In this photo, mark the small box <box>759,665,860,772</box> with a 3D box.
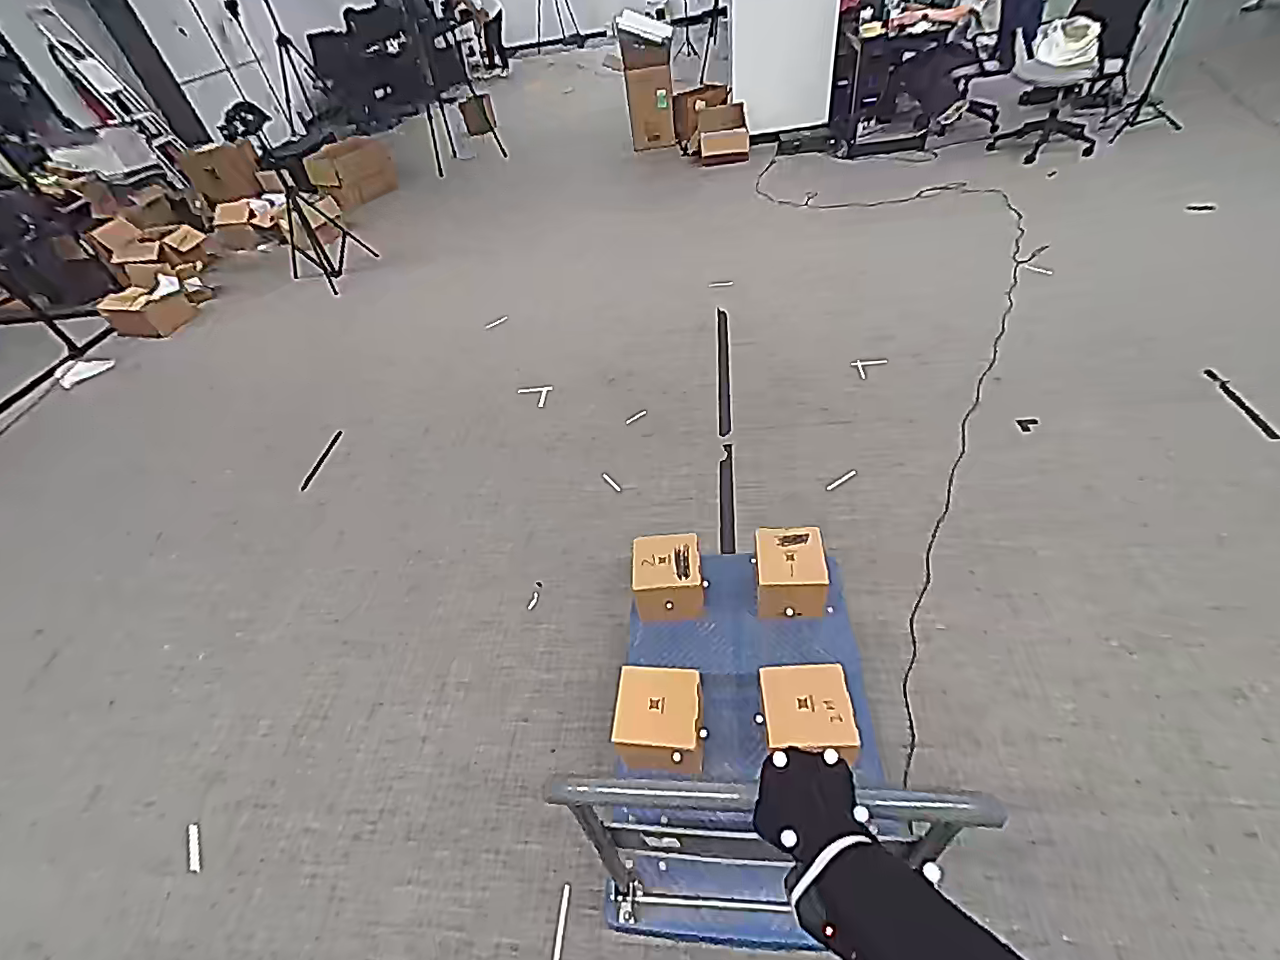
[{"bbox_3d":[0.355,0.515,1.161,0.179,0.176,0.168,-5,46,7],"label":"small box"}]

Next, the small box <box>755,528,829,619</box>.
[{"bbox_3d":[0.392,0.246,1.417,0.168,0.176,0.179,-3,47,9],"label":"small box"}]

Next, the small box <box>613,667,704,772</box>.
[{"bbox_3d":[0.049,0.535,1.206,0.179,0.176,0.168,0,46,9],"label":"small box"}]
